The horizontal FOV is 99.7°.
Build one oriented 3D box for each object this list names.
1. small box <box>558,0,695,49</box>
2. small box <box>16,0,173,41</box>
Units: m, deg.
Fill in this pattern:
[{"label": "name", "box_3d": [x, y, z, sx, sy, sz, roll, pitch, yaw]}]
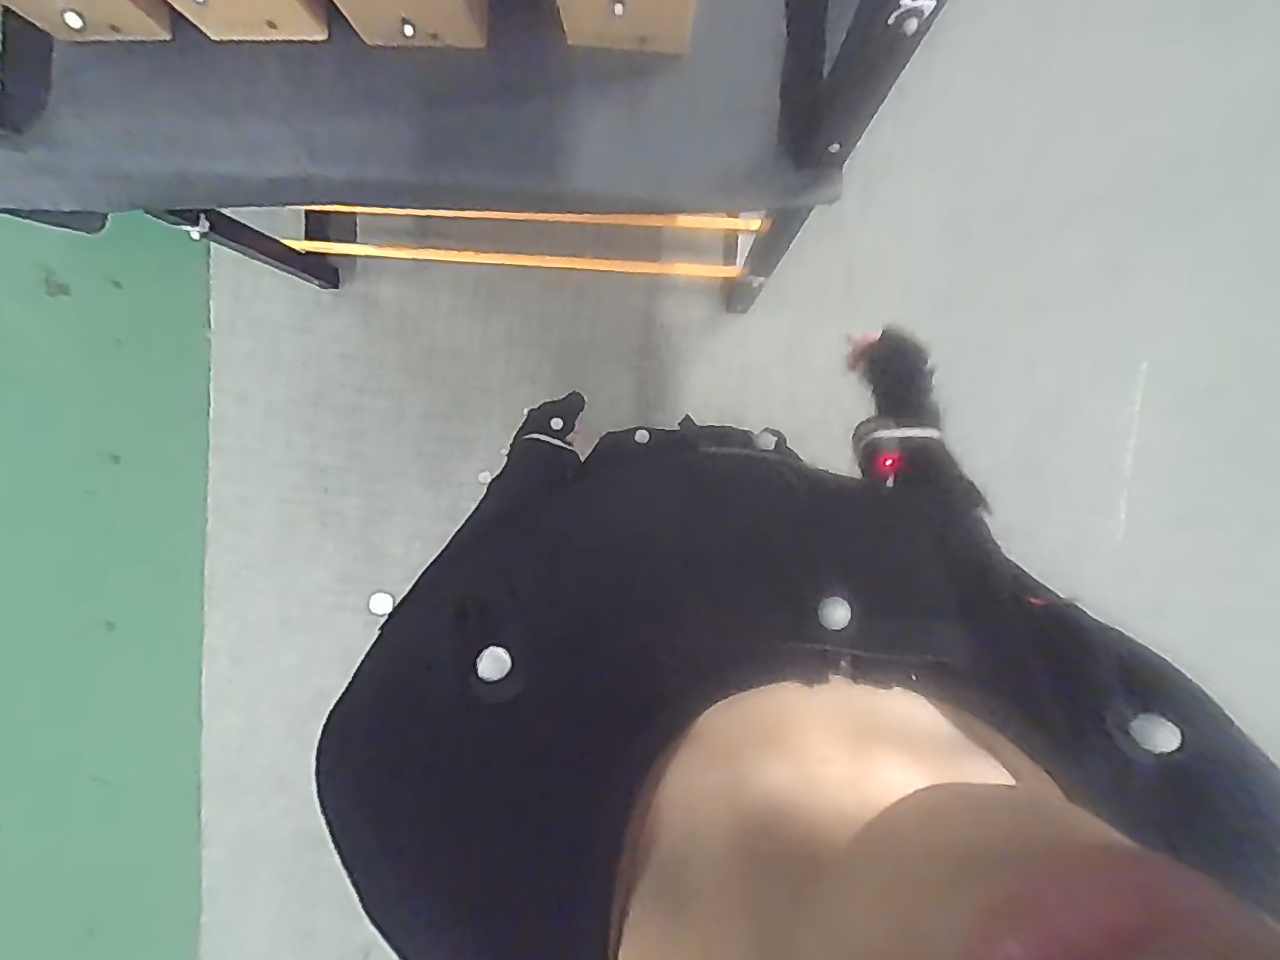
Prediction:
[{"label": "small box", "box_3d": [-0.012, -0.643, 0.619, 0.168, 0.176, 0.179, 7, 95, 2]}, {"label": "small box", "box_3d": [-0.719, -0.687, 0.658, 0.168, 0.176, 0.179, 2, 95, 3]}]
